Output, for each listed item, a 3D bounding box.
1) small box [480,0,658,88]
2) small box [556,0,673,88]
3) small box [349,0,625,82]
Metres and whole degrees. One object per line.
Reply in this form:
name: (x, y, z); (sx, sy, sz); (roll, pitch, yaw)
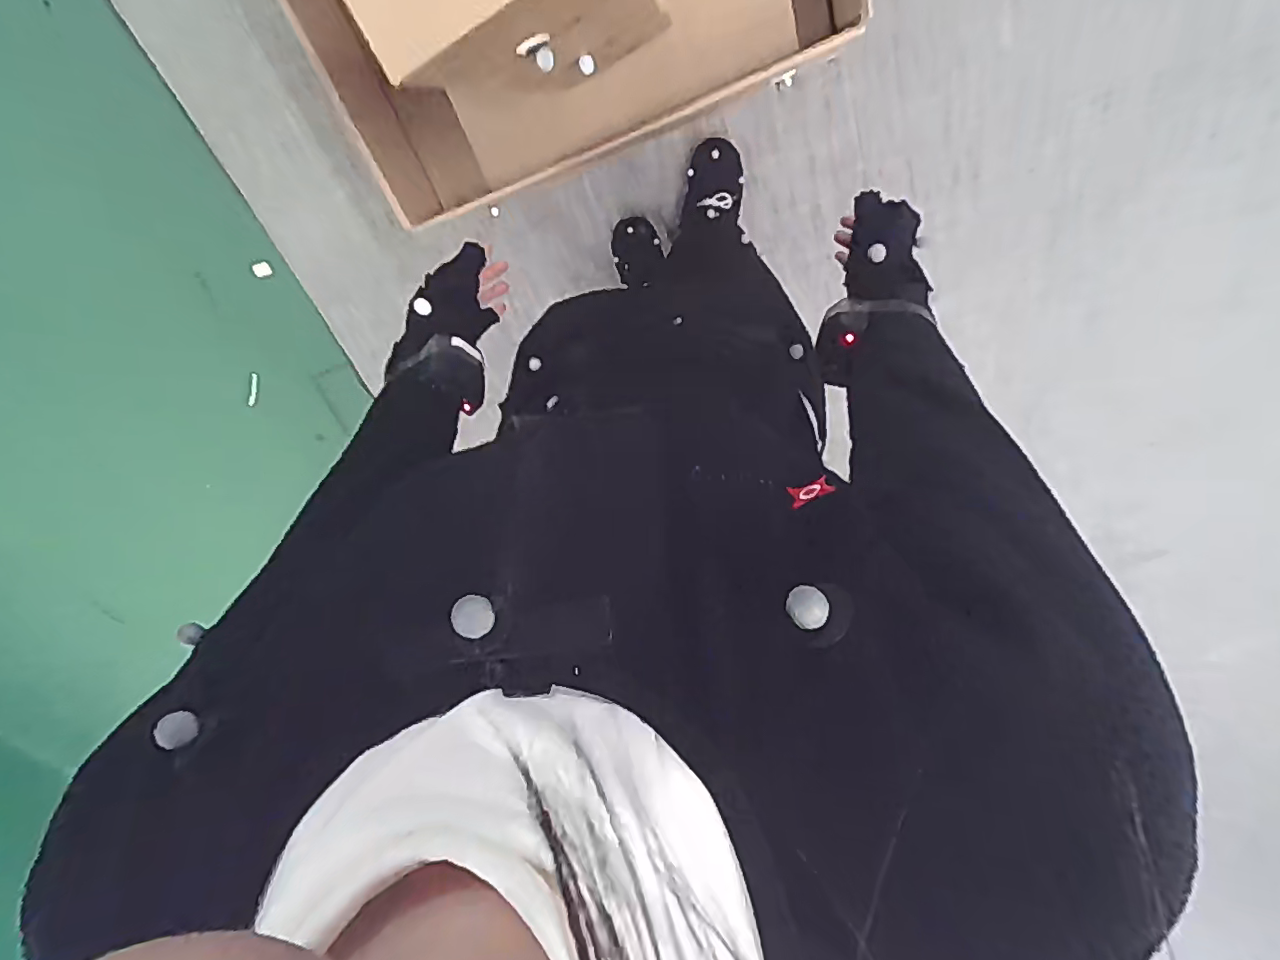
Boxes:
small box: (-0.094, -0.491, 0.490); (0.168, 0.176, 0.179); (-18, 120, 19)
small box: (-0.073, -0.587, 0.621); (0.168, 0.176, 0.179); (-17, 119, 21)
small box: (-0.115, -0.400, 0.357); (0.168, 0.176, 0.179); (-17, 120, 20)
